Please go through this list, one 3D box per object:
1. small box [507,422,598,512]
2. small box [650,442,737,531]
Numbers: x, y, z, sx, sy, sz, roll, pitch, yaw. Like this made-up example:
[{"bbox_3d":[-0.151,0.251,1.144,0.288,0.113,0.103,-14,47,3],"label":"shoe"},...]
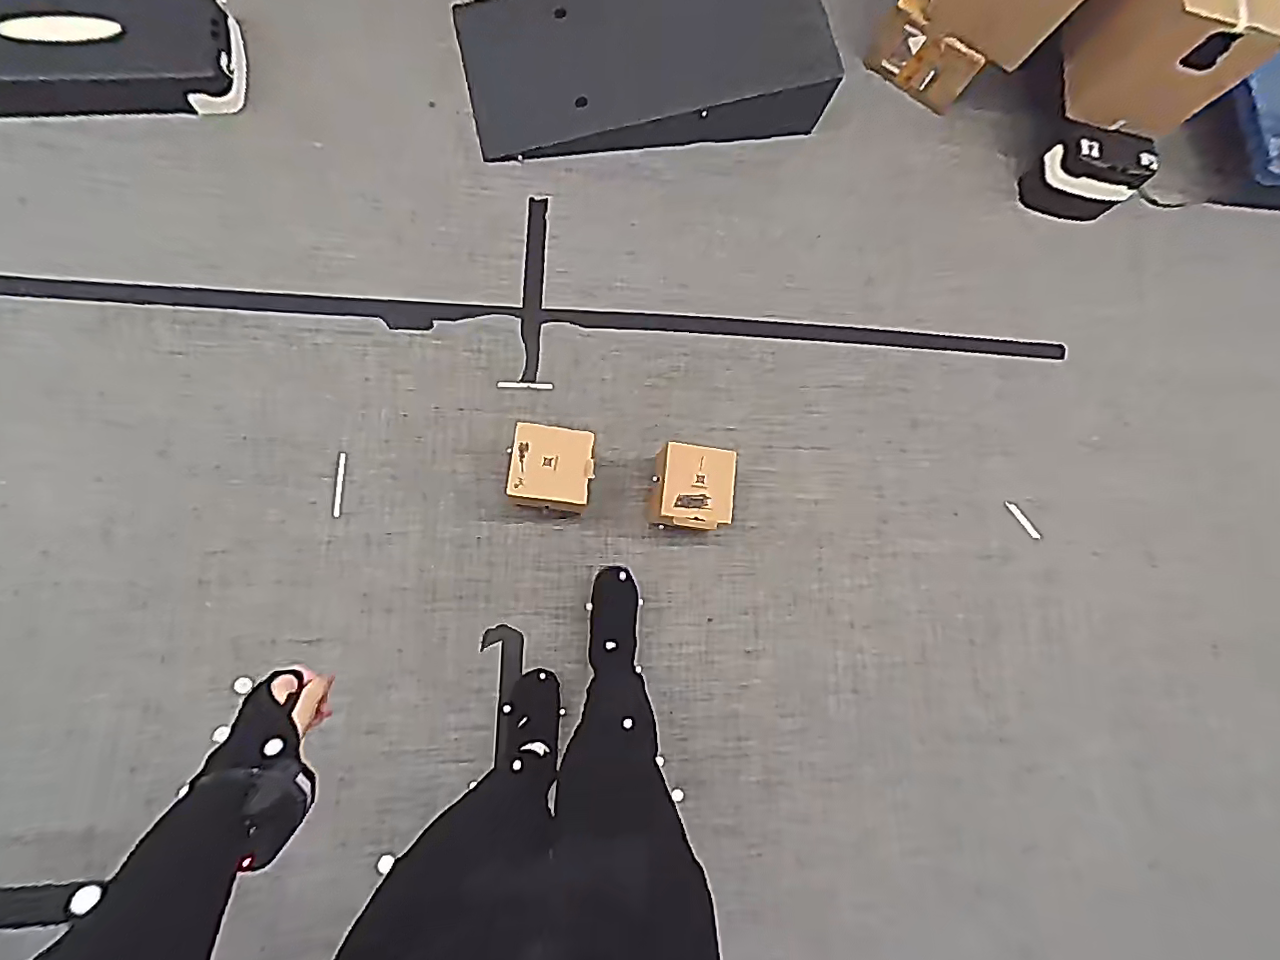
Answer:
[{"bbox_3d":[-0.203,-0.022,1.256,0.179,0.176,0.168,9,79,-9],"label":"small box"},{"bbox_3d":[0.123,0.023,1.304,0.168,0.176,0.179,9,78,-8],"label":"small box"}]
